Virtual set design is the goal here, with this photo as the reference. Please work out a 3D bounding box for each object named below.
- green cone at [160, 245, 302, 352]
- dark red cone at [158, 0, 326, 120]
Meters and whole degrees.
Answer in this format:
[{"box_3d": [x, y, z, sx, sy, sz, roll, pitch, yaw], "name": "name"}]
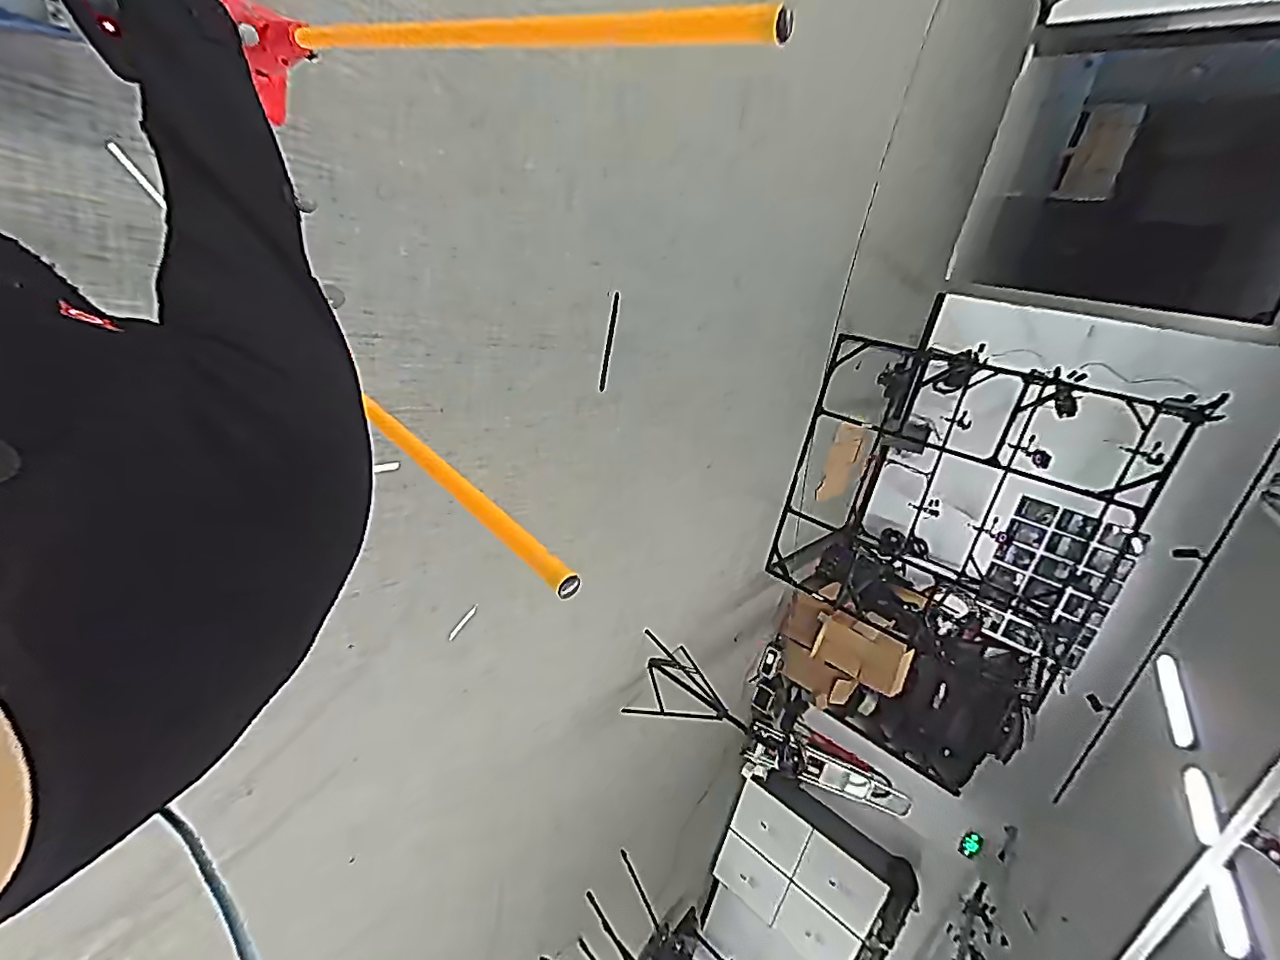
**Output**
[{"box_3d": [-0.785, -0.325, 1.087, 0.202, 0.368, 0.200, -7, 117, -54], "name": "green cone"}, {"box_3d": [-0.658, -0.769, 0.938, 0.201, 0.394, 0.202, -13, 122, -52], "name": "dark red cone"}]
